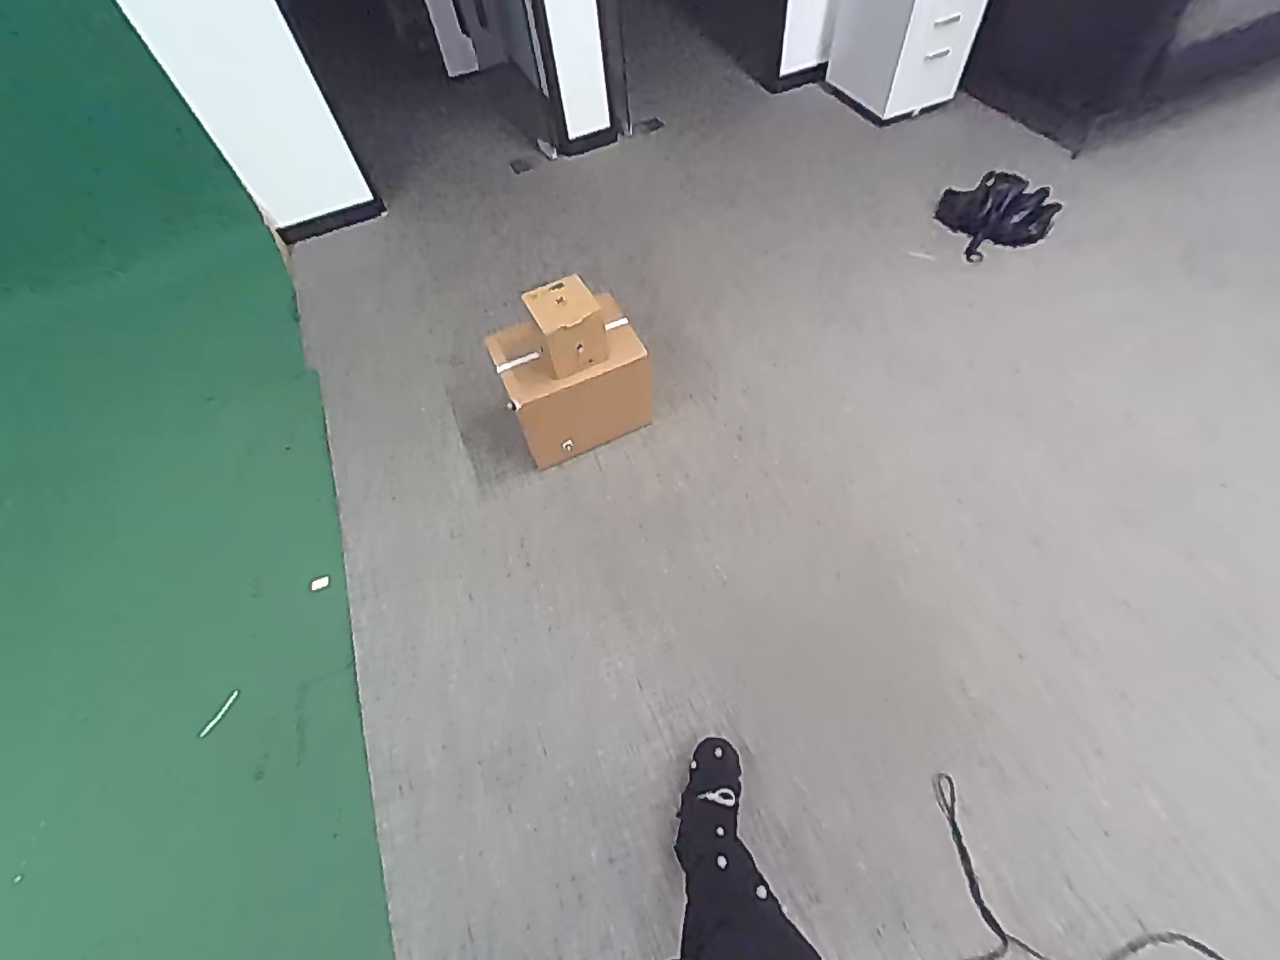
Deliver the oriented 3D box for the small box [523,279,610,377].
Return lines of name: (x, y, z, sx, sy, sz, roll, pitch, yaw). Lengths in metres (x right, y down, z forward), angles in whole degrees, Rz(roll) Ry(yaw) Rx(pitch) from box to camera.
small box: (-0.194, -0.406, 1.472, 0.168, 0.176, 0.179, -25, 59, -10)
